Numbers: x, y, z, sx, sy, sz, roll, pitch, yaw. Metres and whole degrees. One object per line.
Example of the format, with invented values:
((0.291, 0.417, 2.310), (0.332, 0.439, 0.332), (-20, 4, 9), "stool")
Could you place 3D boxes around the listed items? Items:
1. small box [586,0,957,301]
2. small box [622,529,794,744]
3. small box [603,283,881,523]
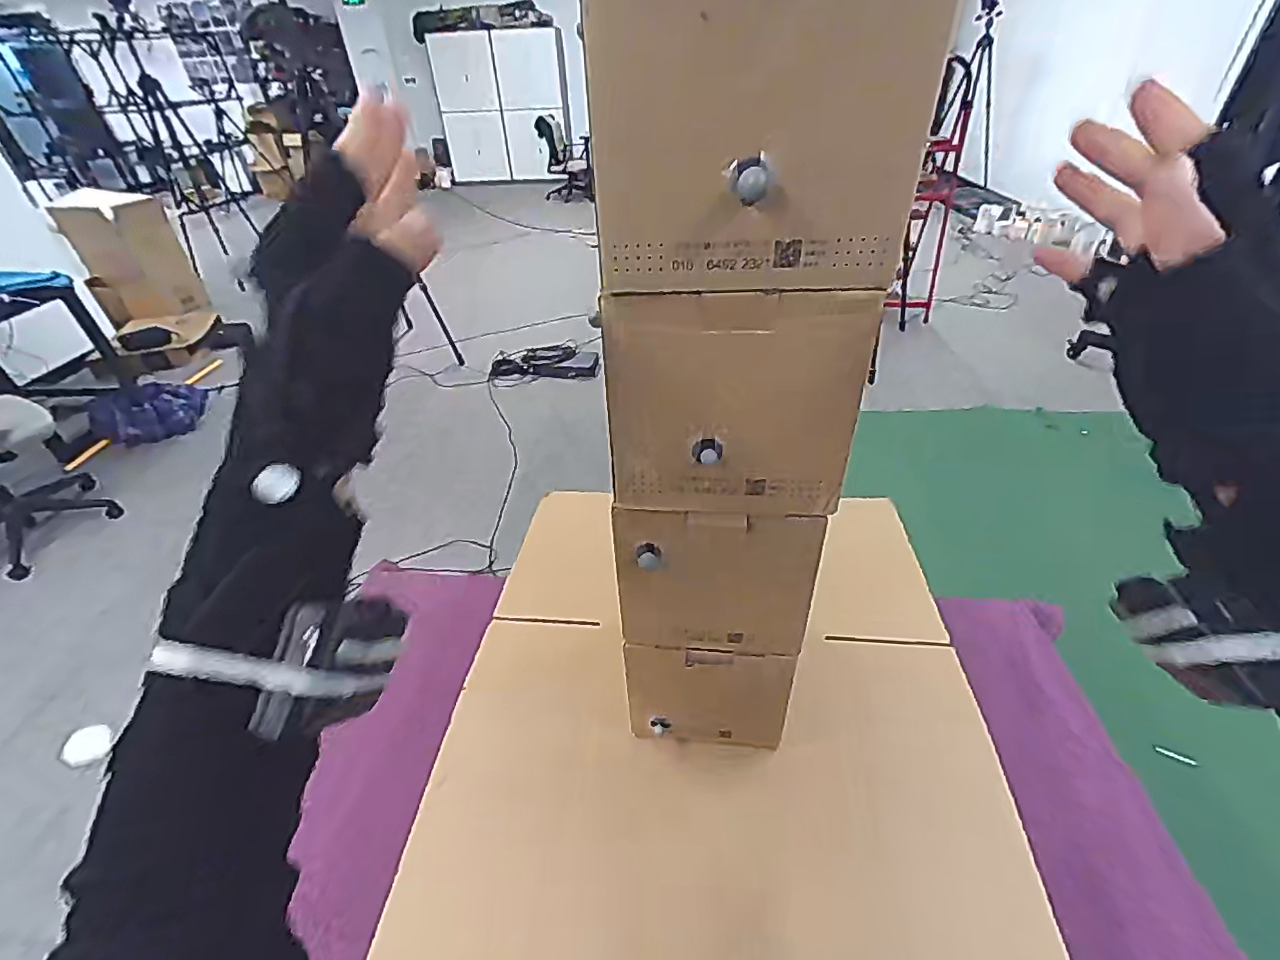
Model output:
((0.061, -0.219, 0.331), (0.168, 0.176, 0.179), (0, 37, 4), "small box")
((0.078, 0.177, 0.622), (0.168, 0.176, 0.179), (2, 36, 7), "small box")
((0.067, -0.087, 0.429), (0.168, 0.176, 0.179), (1, 37, 5), "small box")
